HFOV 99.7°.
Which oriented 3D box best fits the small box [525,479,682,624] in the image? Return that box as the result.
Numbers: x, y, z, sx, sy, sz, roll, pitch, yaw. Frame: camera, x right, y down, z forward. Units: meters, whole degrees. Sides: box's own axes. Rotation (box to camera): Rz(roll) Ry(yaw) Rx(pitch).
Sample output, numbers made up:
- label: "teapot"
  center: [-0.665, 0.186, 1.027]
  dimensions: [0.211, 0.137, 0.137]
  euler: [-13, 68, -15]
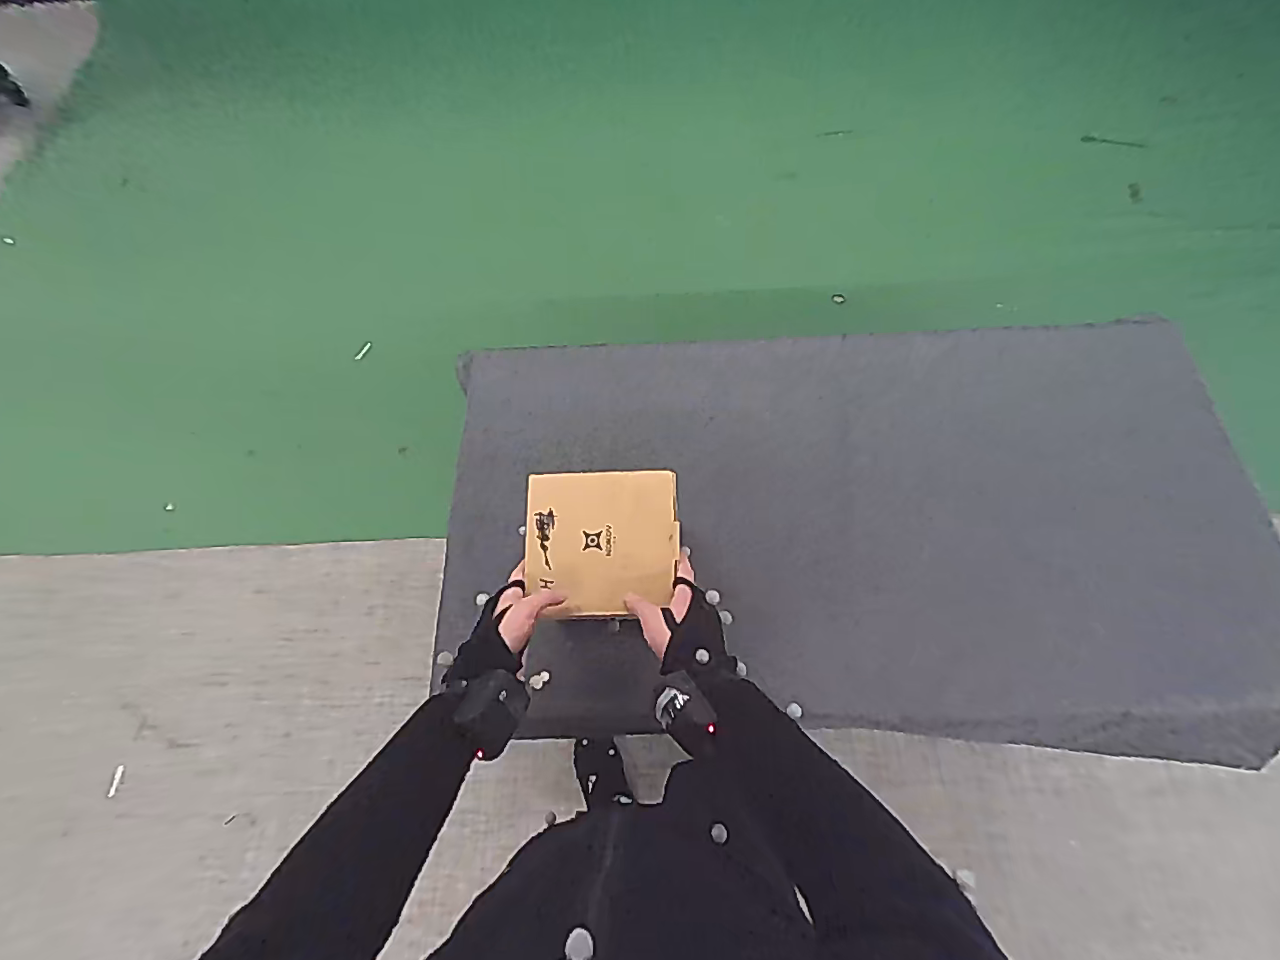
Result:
- label: "small box"
  center: [-0.038, 0.099, 0.696]
  dimensions: [0.179, 0.176, 0.168]
  euler: [-1, 74, 3]
